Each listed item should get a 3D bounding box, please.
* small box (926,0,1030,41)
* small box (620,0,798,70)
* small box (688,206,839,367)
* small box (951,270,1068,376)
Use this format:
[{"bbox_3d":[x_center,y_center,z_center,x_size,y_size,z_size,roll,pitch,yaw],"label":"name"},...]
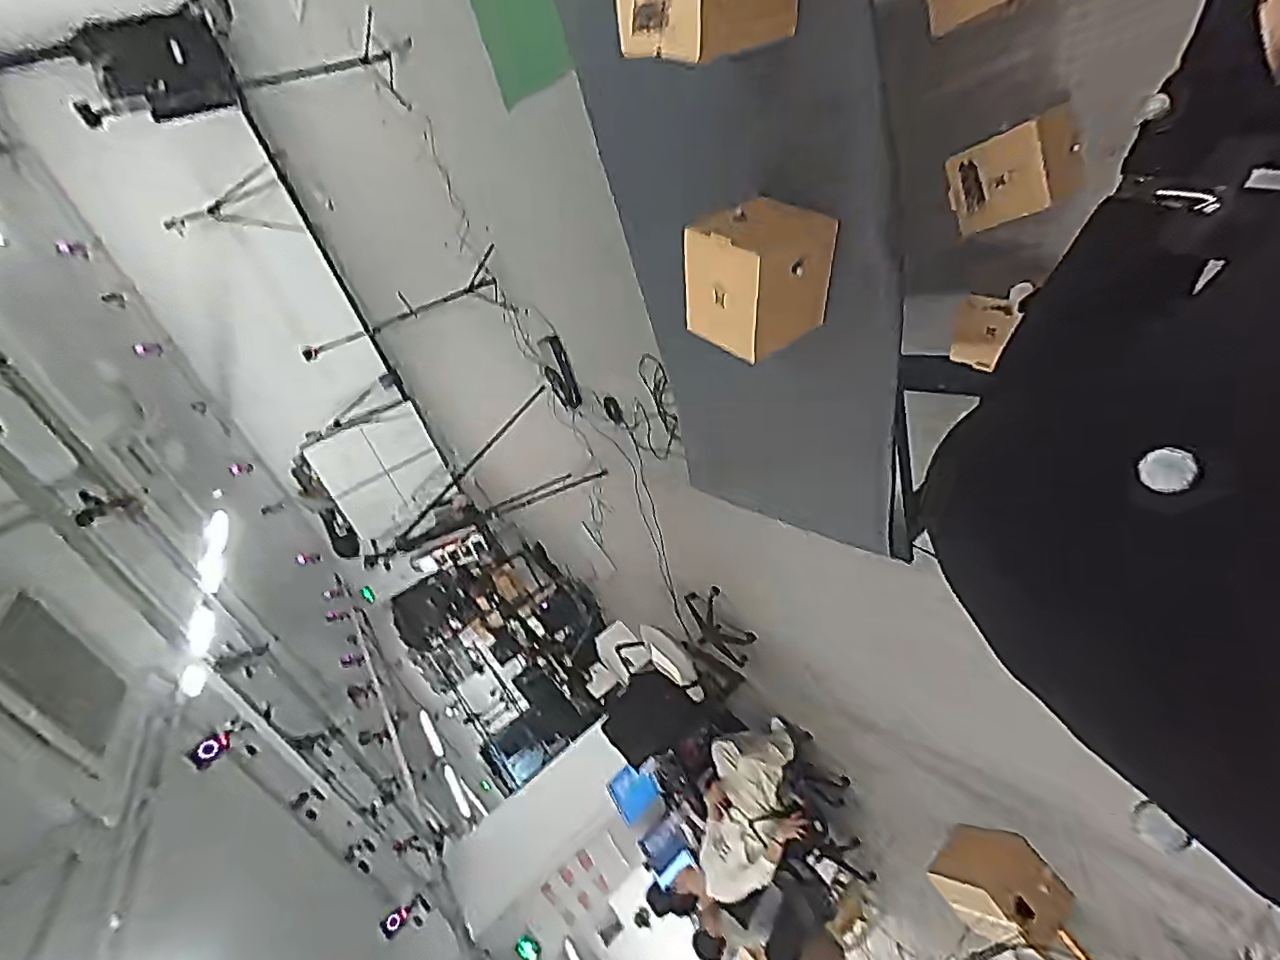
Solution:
[{"bbox_3d":[0.656,-0.965,1.001,0.179,0.176,0.168,15,132,56],"label":"small box"},{"bbox_3d":[0.086,-0.641,0.671,0.168,0.176,0.179,40,153,36],"label":"small box"},{"bbox_3d":[0.197,-0.320,0.876,0.168,0.176,0.179,40,153,38],"label":"small box"},{"bbox_3d":[0.887,-0.382,1.301,0.168,0.176,0.179,32,147,43],"label":"small box"}]
